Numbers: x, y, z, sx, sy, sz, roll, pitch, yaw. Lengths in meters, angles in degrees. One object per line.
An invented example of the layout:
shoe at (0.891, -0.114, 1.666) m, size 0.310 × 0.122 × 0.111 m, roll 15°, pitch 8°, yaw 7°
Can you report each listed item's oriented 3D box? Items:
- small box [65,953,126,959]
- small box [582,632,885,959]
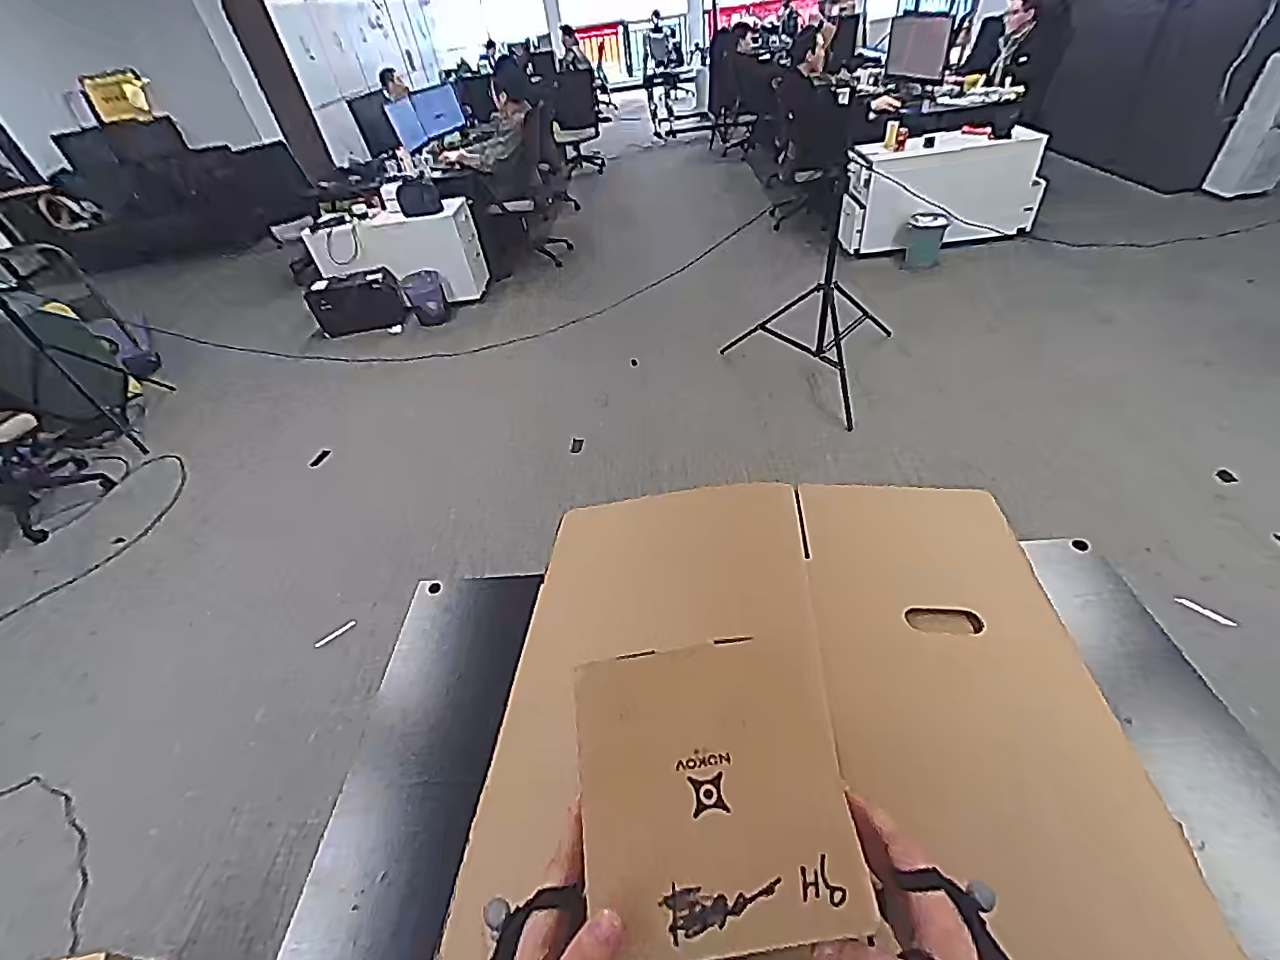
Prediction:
small box at (-1.035, 0.997, 0.981) m, size 0.168 × 0.176 × 0.179 m, roll -9°, pitch 40°, yaw -1°
small box at (0.053, 0.240, 0.411) m, size 0.168 × 0.176 × 0.179 m, roll -9°, pitch 53°, yaw 0°
